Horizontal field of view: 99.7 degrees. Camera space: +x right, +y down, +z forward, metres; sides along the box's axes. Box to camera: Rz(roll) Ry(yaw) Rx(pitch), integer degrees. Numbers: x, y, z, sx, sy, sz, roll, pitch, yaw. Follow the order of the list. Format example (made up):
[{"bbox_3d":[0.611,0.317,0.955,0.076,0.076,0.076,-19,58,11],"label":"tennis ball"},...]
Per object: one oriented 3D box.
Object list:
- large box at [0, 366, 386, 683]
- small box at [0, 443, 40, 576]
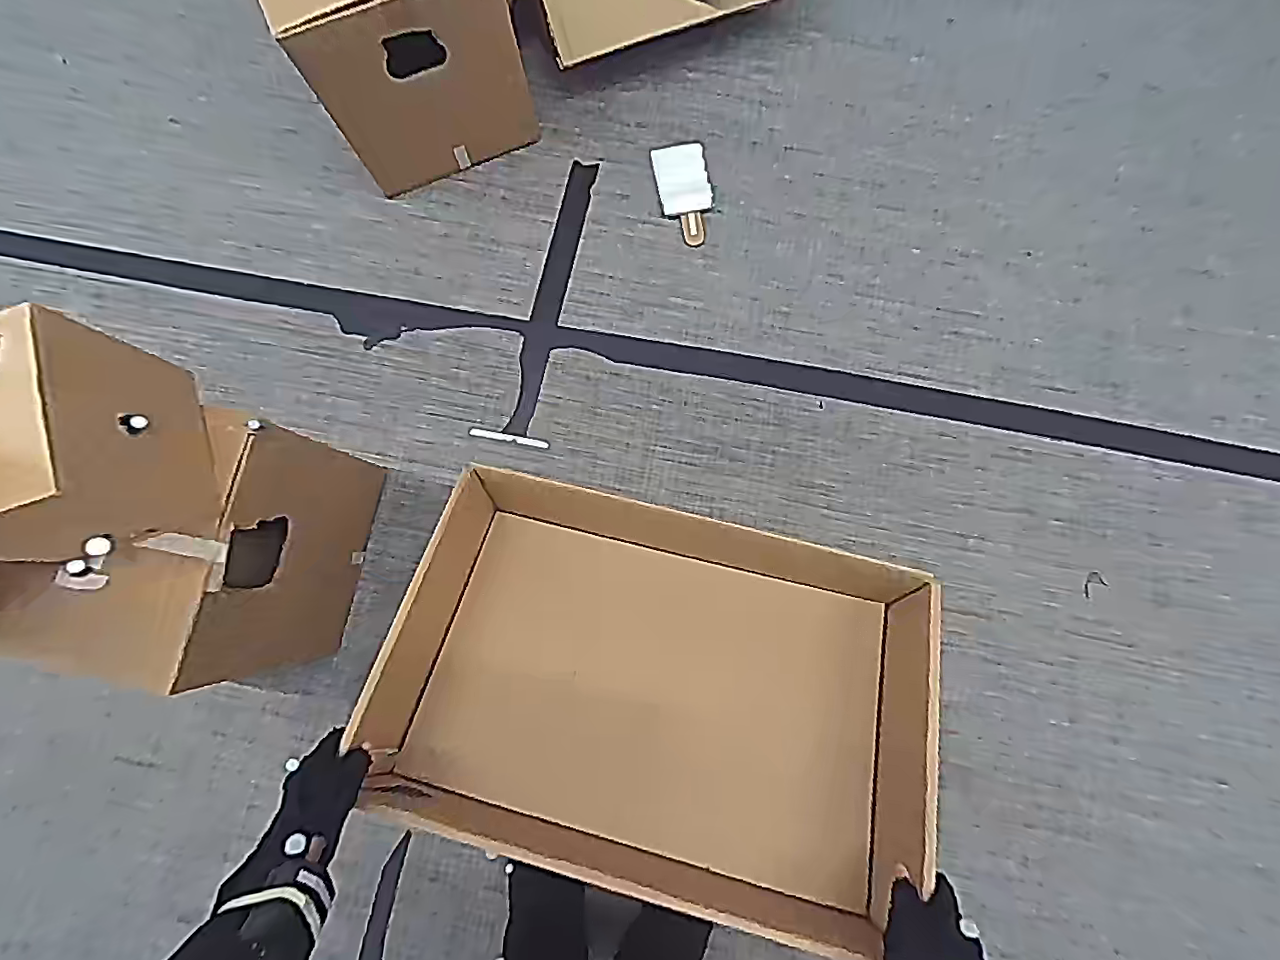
[{"bbox_3d":[-0.647,0.061,0.749,0.408,0.320,0.320,10,82,2],"label":"large box"},{"bbox_3d":[-0.751,0.027,0.511,0.168,0.176,0.179,10,80,1],"label":"small box"}]
